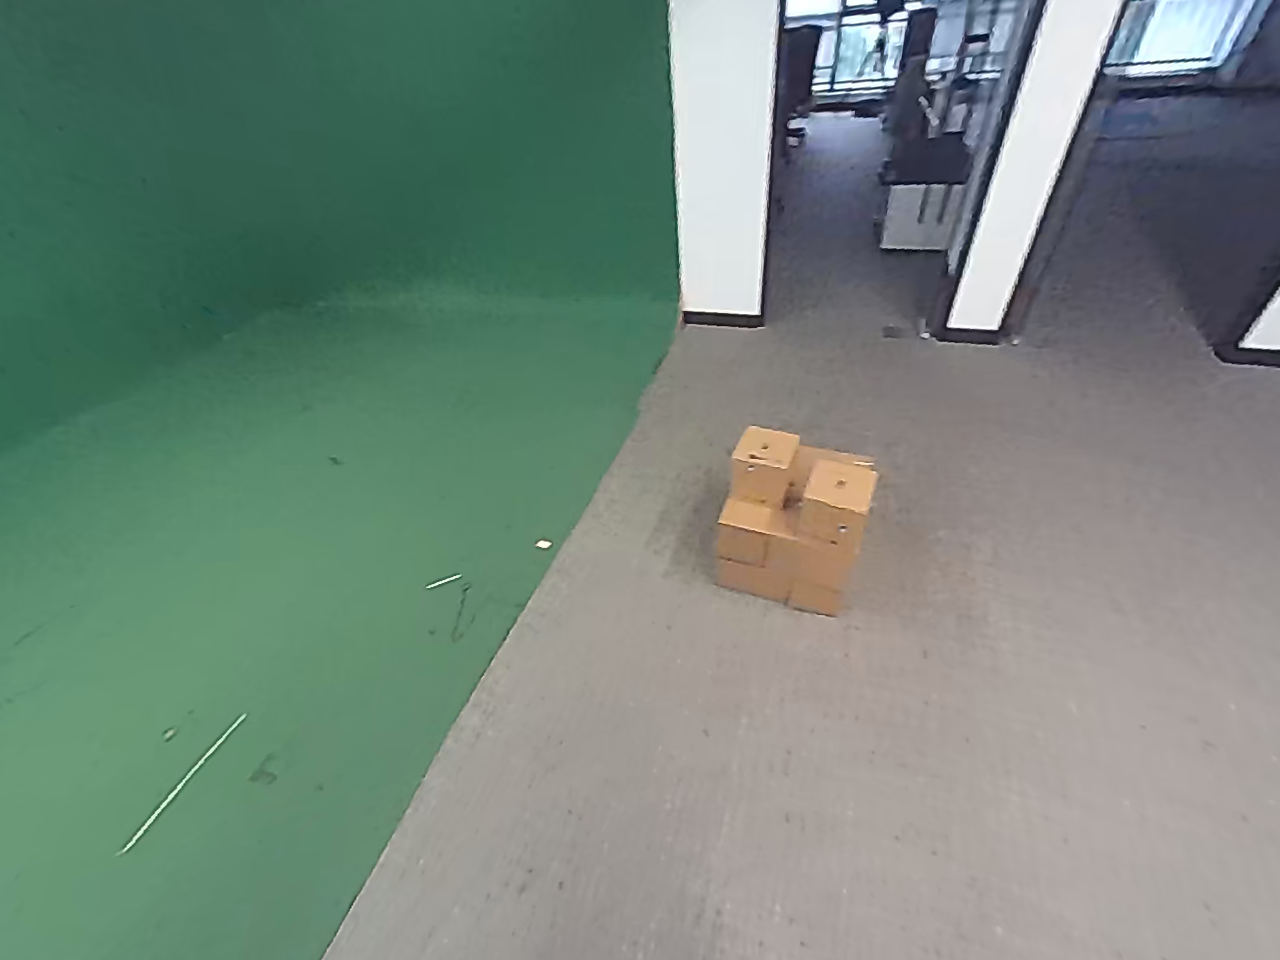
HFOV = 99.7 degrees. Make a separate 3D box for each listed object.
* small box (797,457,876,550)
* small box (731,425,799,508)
[{"bbox_3d":[0.547,0.068,1.519,0.168,0.176,0.179,16,45,22],"label":"small box"},{"bbox_3d":[0.382,-0.043,1.668,0.168,0.176,0.179,14,43,23],"label":"small box"}]
